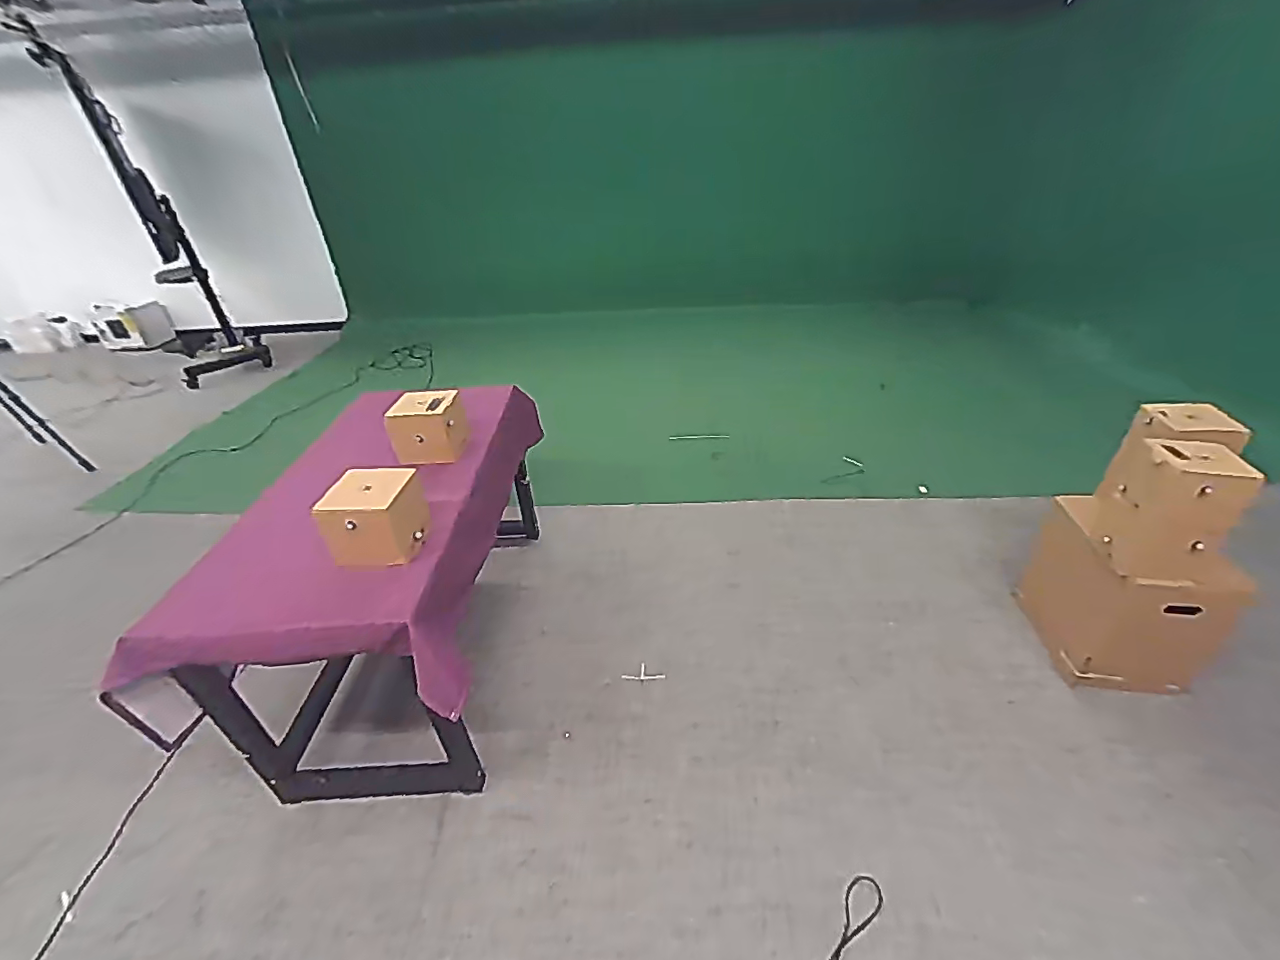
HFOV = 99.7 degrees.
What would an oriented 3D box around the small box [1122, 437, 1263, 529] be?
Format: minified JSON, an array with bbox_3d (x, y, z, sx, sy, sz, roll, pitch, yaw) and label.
[{"bbox_3d":[1.384,0.008,1.377,0.179,0.176,0.168,7,35,12],"label":"small box"}]

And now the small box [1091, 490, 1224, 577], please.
[{"bbox_3d":[1.388,0.146,1.466,0.179,0.176,0.168,3,33,9],"label":"small box"}]

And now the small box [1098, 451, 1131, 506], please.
[{"bbox_3d":[1.548,0.026,1.632,0.168,0.176,0.179,1,34,8],"label":"small box"}]

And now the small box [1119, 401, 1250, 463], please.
[{"bbox_3d":[1.534,-0.109,1.538,0.179,0.176,0.168,3,34,10],"label":"small box"}]

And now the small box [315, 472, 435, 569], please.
[{"bbox_3d":[-0.619,0.097,1.287,0.179,0.176,0.168,0,34,5],"label":"small box"}]
